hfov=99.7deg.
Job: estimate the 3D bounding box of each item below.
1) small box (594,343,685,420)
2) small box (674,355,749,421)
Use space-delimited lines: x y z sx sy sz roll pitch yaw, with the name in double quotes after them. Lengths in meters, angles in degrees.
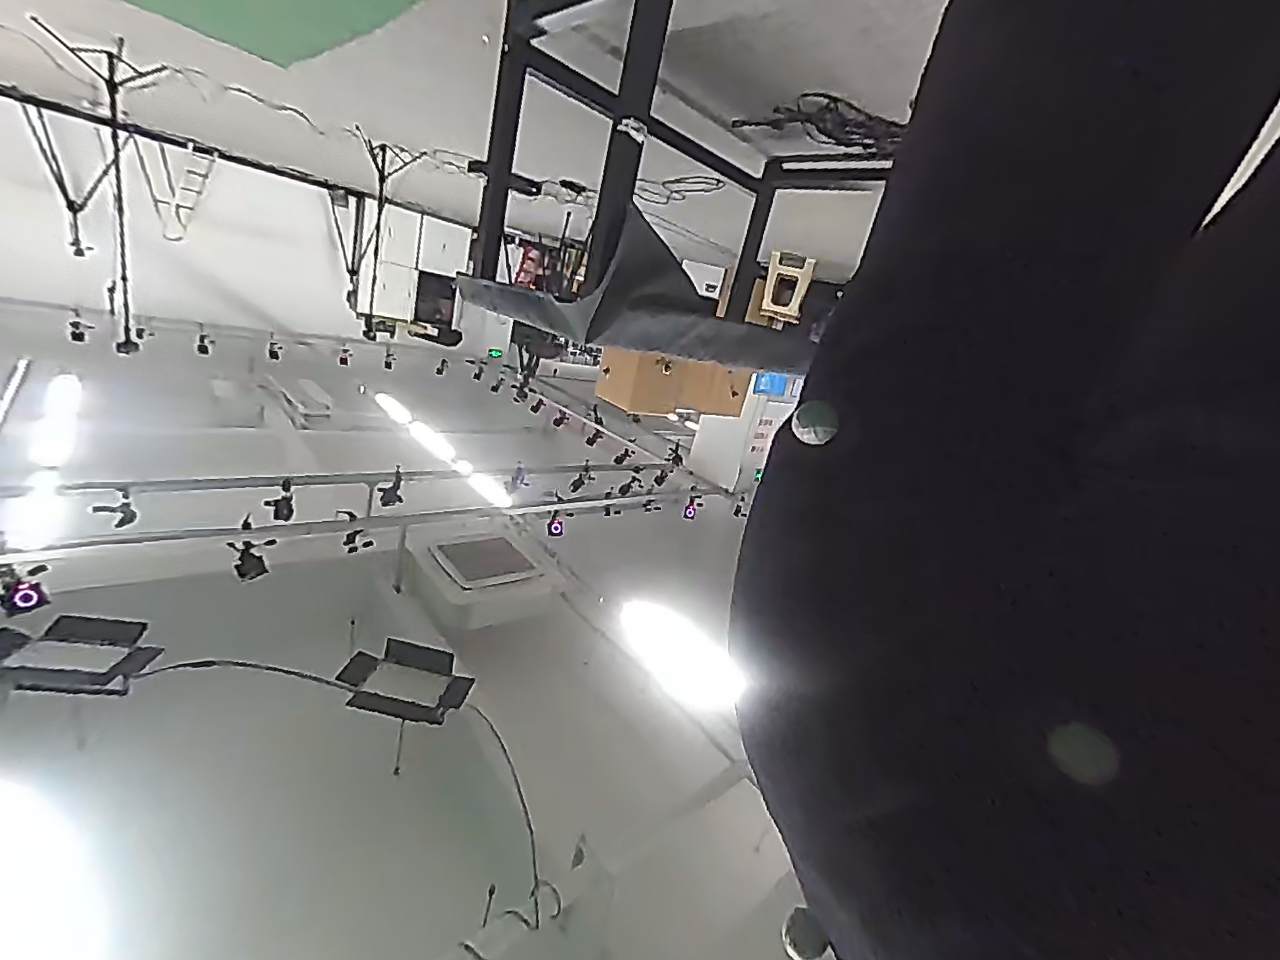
0.000 -0.272 1.474 0.168 0.176 0.179 -2 -158 -37 "small box"
0.224 -0.294 1.709 0.168 0.176 0.179 -1 -157 -39 "small box"
